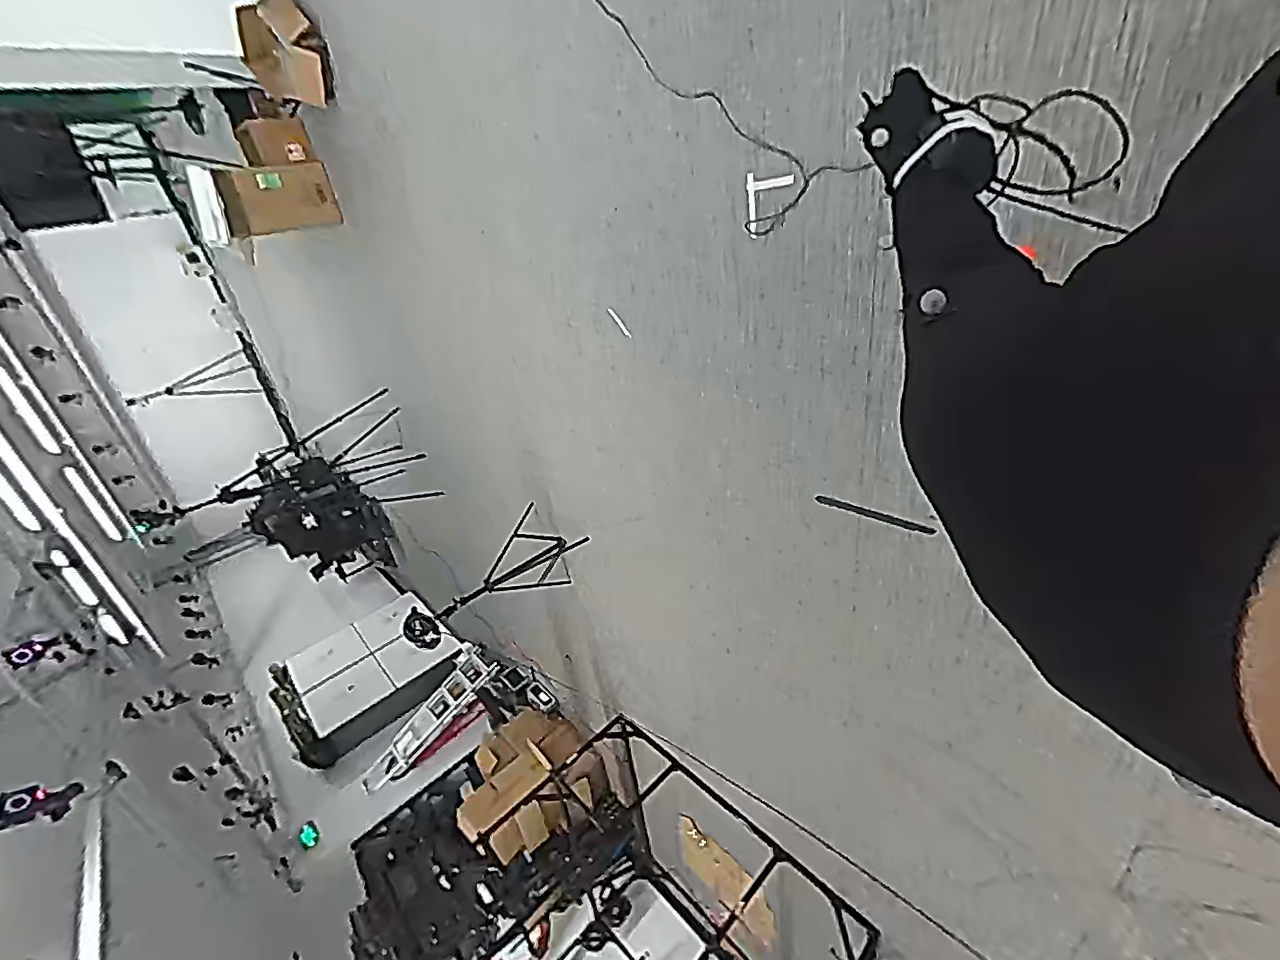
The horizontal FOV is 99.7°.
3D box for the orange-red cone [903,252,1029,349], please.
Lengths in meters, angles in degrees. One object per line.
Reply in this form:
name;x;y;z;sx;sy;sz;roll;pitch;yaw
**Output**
orange-red cone;0.665;-0.352;1.167;0.199;0.360;0.198;16;127;44
